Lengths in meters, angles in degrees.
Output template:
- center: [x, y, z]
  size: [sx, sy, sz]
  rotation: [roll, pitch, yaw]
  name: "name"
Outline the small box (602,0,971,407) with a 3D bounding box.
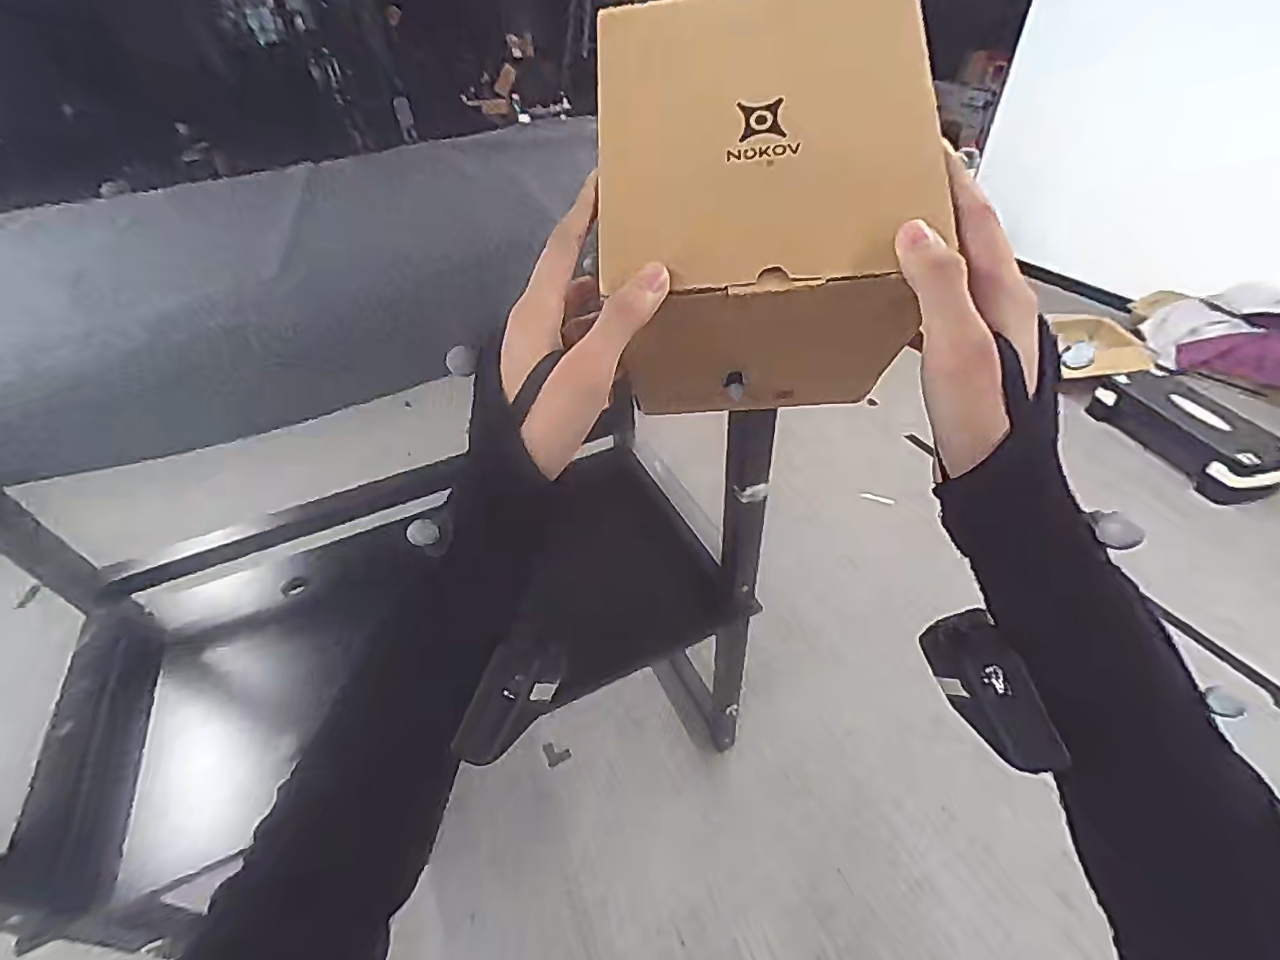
- center: [0.071, -0.160, 0.338]
  size: [0.168, 0.176, 0.179]
  rotation: [-3, 78, 7]
  name: "small box"
